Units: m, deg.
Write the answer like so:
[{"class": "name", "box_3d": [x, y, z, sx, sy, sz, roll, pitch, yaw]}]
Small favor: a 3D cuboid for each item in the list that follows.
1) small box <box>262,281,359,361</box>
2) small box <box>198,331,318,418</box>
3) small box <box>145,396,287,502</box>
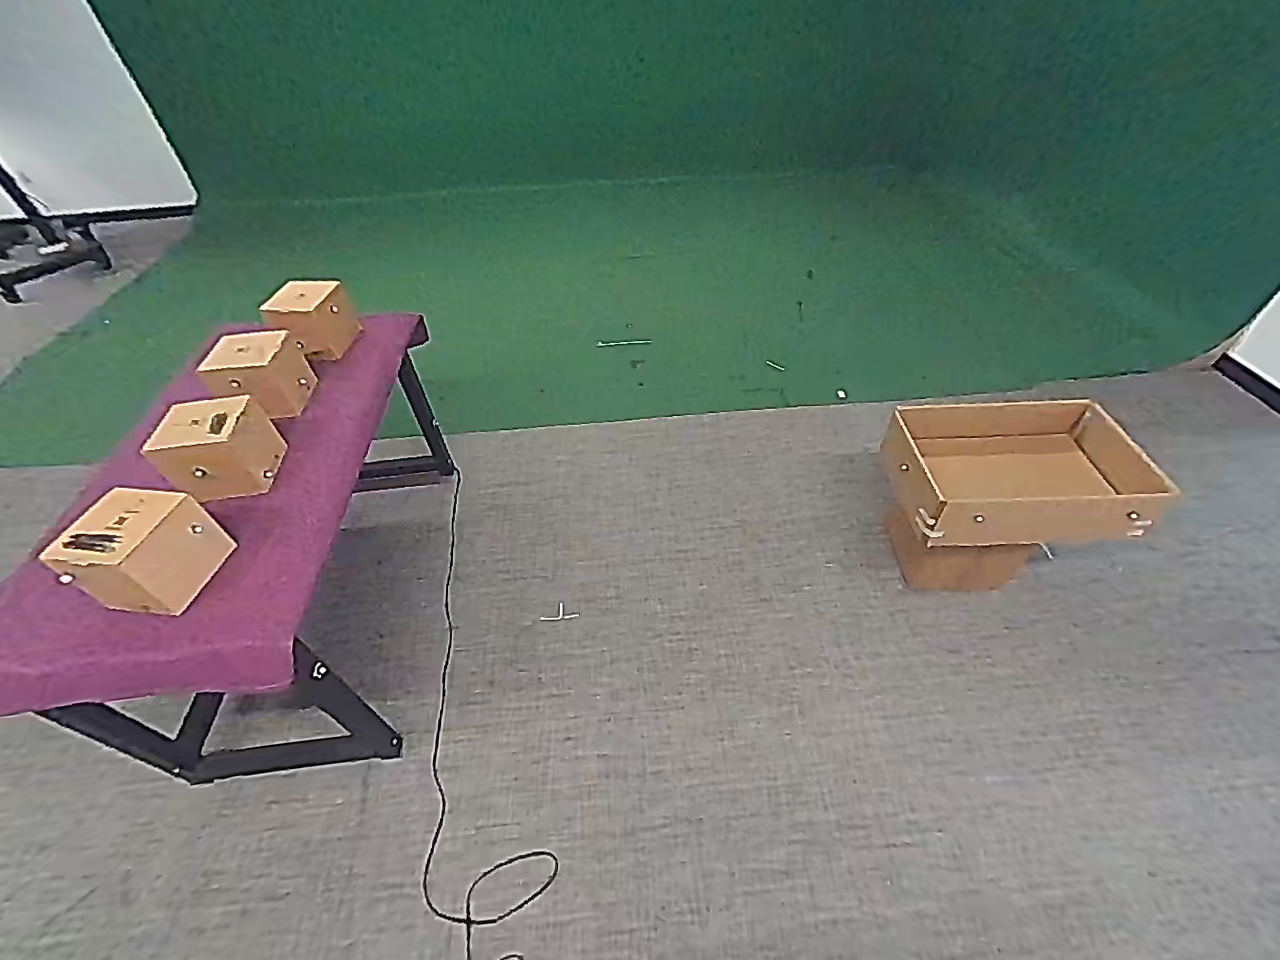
[{"class": "small box", "box_3d": [-0.987, -0.484, 1.643, 0.168, 0.176, 0.179, 2, 48, 5]}, {"class": "small box", "box_3d": [-1.011, -0.275, 1.449, 0.179, 0.176, 0.168, -6, 48, -2]}, {"class": "small box", "box_3d": [-0.965, -0.069, 1.254, 0.179, 0.176, 0.168, -9, 47, -3]}]
